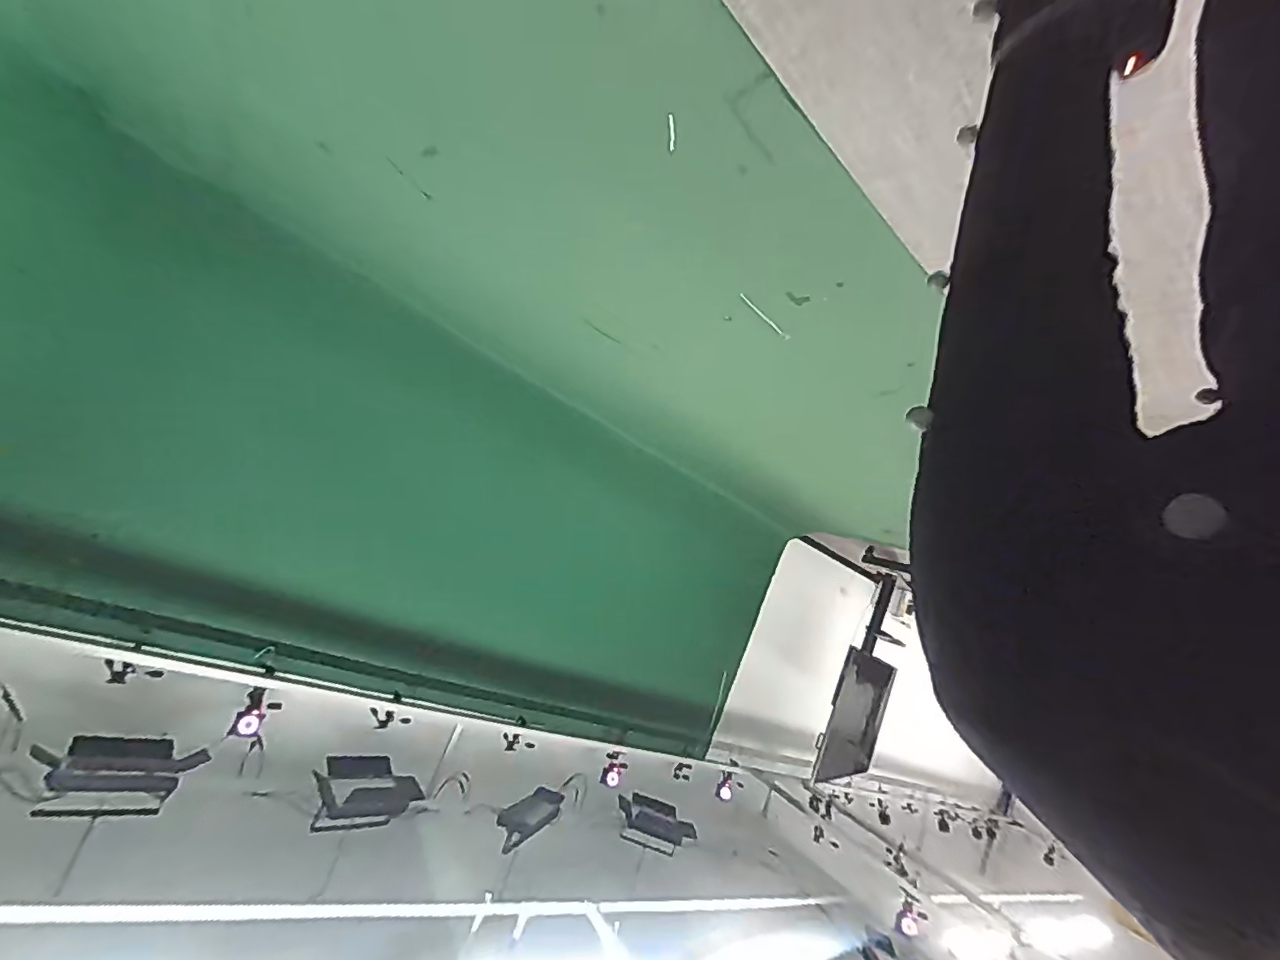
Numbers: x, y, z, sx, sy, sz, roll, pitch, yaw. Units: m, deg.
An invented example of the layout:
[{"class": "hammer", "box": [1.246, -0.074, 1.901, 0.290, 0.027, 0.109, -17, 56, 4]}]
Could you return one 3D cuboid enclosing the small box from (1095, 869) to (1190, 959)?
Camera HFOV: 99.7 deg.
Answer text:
[{"class": "small box", "box": [1.599, 1.376, 1.720, 0.179, 0.176, 0.168, 29, 171, -29]}]
